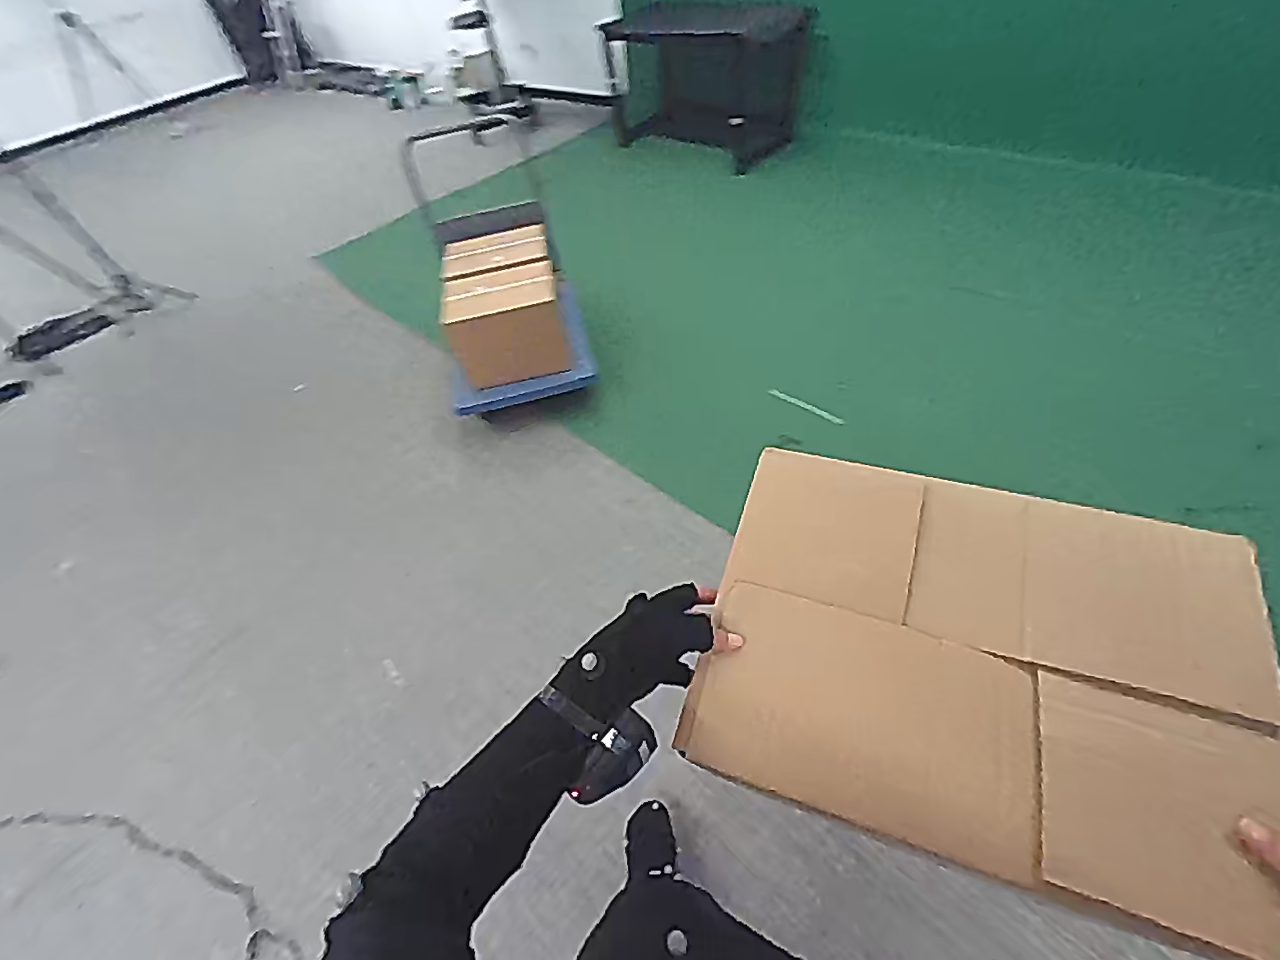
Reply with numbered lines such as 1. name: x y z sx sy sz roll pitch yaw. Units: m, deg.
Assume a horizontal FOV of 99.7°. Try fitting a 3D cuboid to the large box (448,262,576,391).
1. large box: -0.490 -0.599 2.117 0.408 0.320 0.320 -13 48 0
